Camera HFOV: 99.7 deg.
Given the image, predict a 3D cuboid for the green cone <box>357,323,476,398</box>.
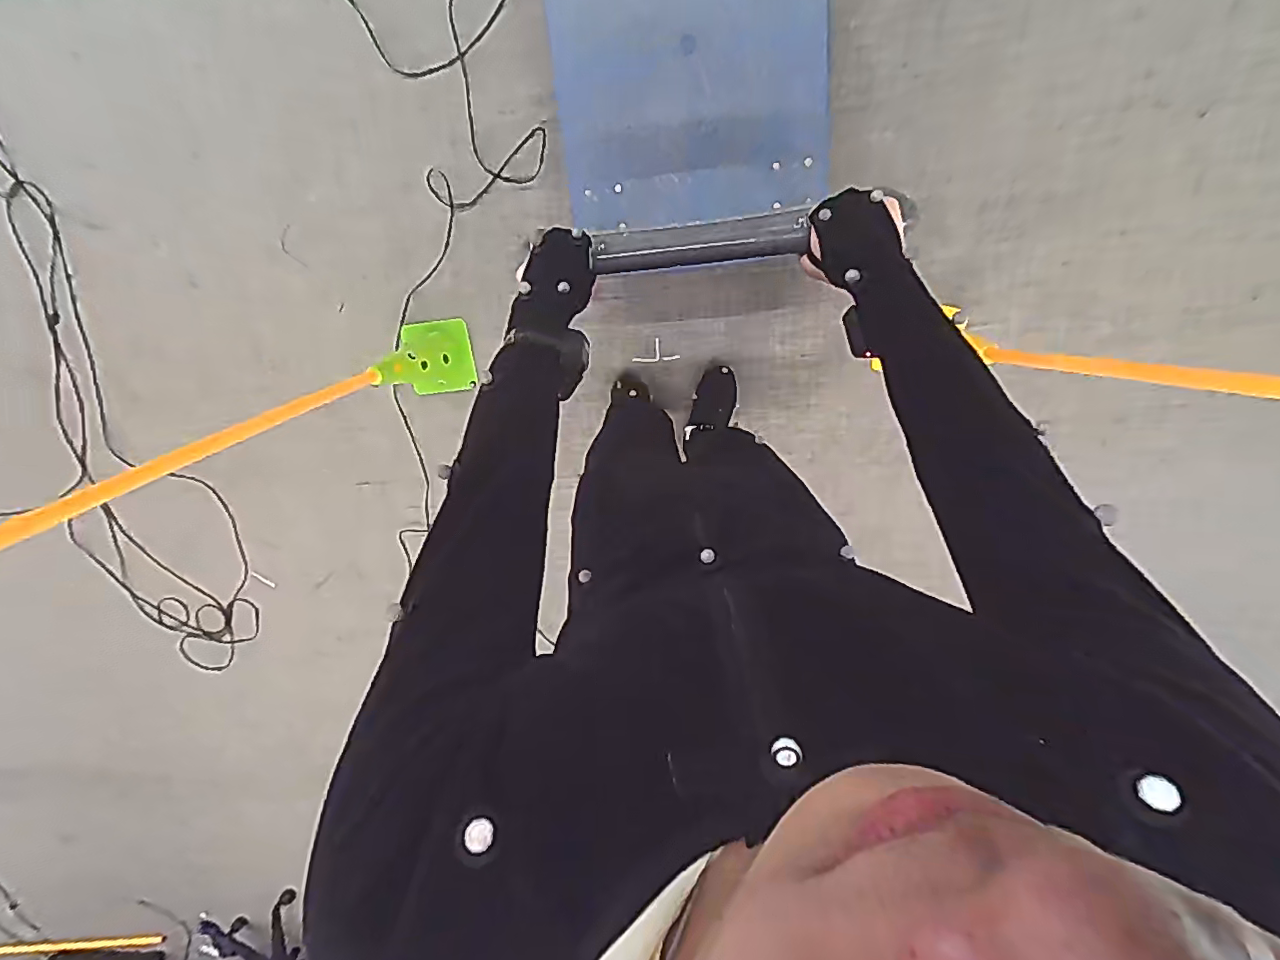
[{"bbox_3d":[-0.600,-0.286,1.394,0.202,0.368,0.200,-5,108,9],"label":"green cone"}]
